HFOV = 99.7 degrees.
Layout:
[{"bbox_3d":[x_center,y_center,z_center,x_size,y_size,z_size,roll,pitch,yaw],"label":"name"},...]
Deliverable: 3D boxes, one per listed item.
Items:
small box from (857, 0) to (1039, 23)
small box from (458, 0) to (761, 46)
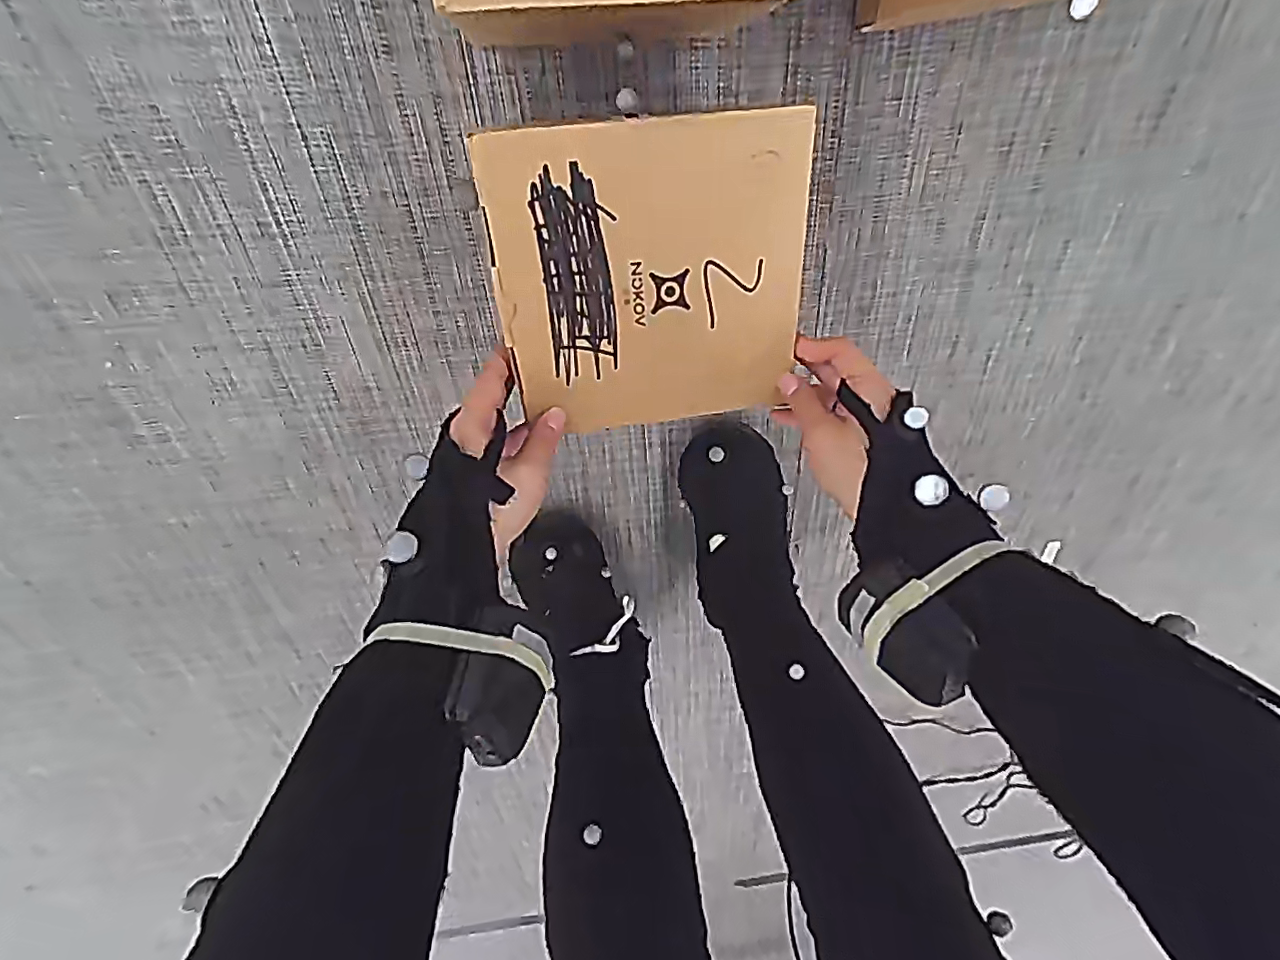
[{"bbox_3d":[0.246,-0.377,0.298,0.179,0.176,0.168,-10,125,-1],"label":"small box"},{"bbox_3d":[-0.021,-0.339,0.277,0.179,0.176,0.168,-6,124,-5],"label":"small box"}]
